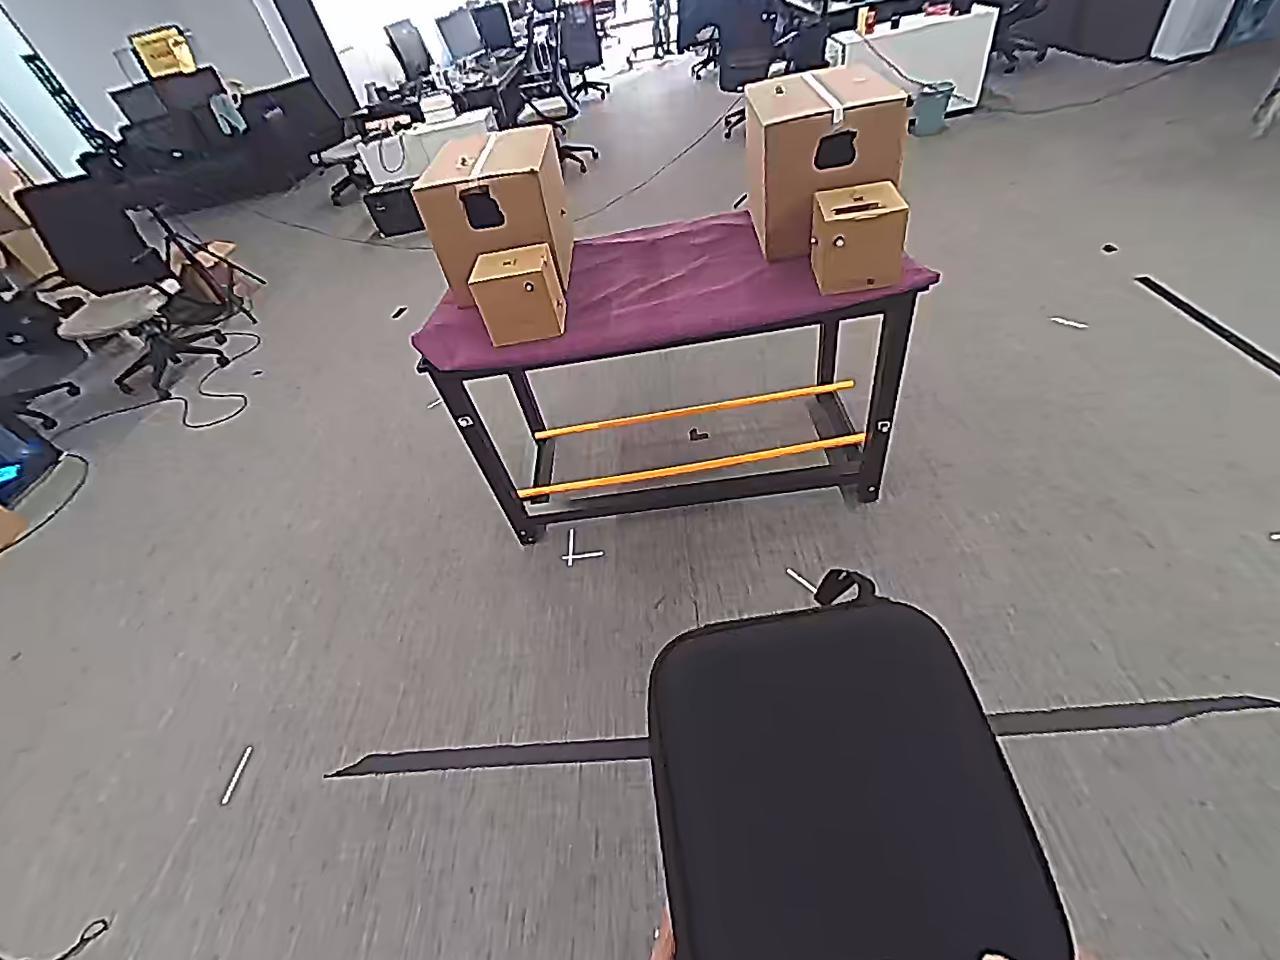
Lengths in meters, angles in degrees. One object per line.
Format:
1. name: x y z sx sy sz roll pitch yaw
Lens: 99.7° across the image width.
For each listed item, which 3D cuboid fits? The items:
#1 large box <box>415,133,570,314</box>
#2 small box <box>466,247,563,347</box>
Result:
1. large box: -0.379 -0.721 1.513 0.320 0.320 0.408 -8 47 4
2. small box: -0.298 -0.443 1.320 0.179 0.176 0.168 -9 43 4
